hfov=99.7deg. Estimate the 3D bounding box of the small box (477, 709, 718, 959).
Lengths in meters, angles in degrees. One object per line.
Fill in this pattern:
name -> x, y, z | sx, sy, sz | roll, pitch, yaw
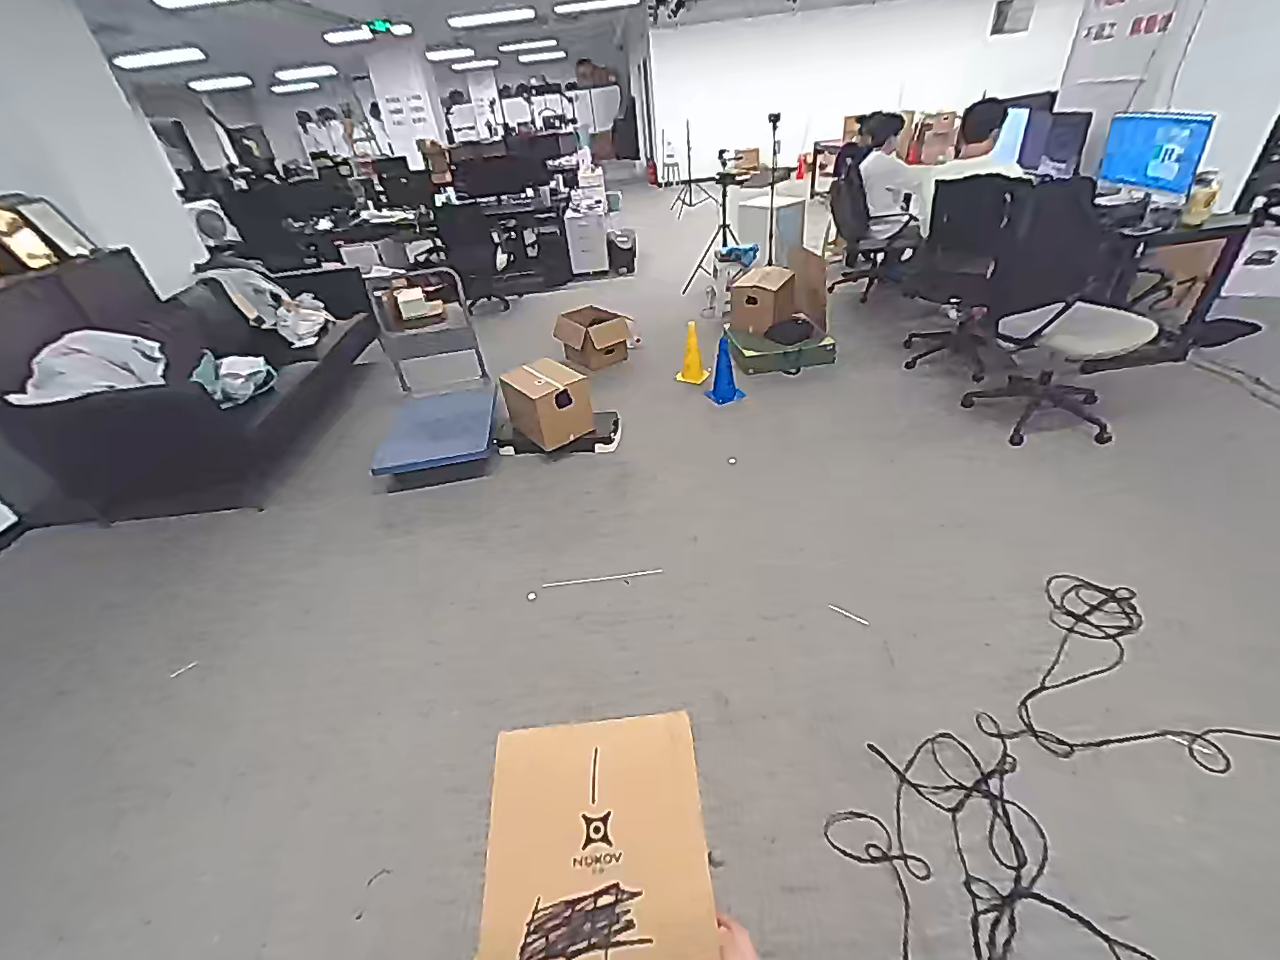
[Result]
small box -> -0.025, 0.318, 0.463 | 0.168, 0.176, 0.179 | -6, 50, 1
